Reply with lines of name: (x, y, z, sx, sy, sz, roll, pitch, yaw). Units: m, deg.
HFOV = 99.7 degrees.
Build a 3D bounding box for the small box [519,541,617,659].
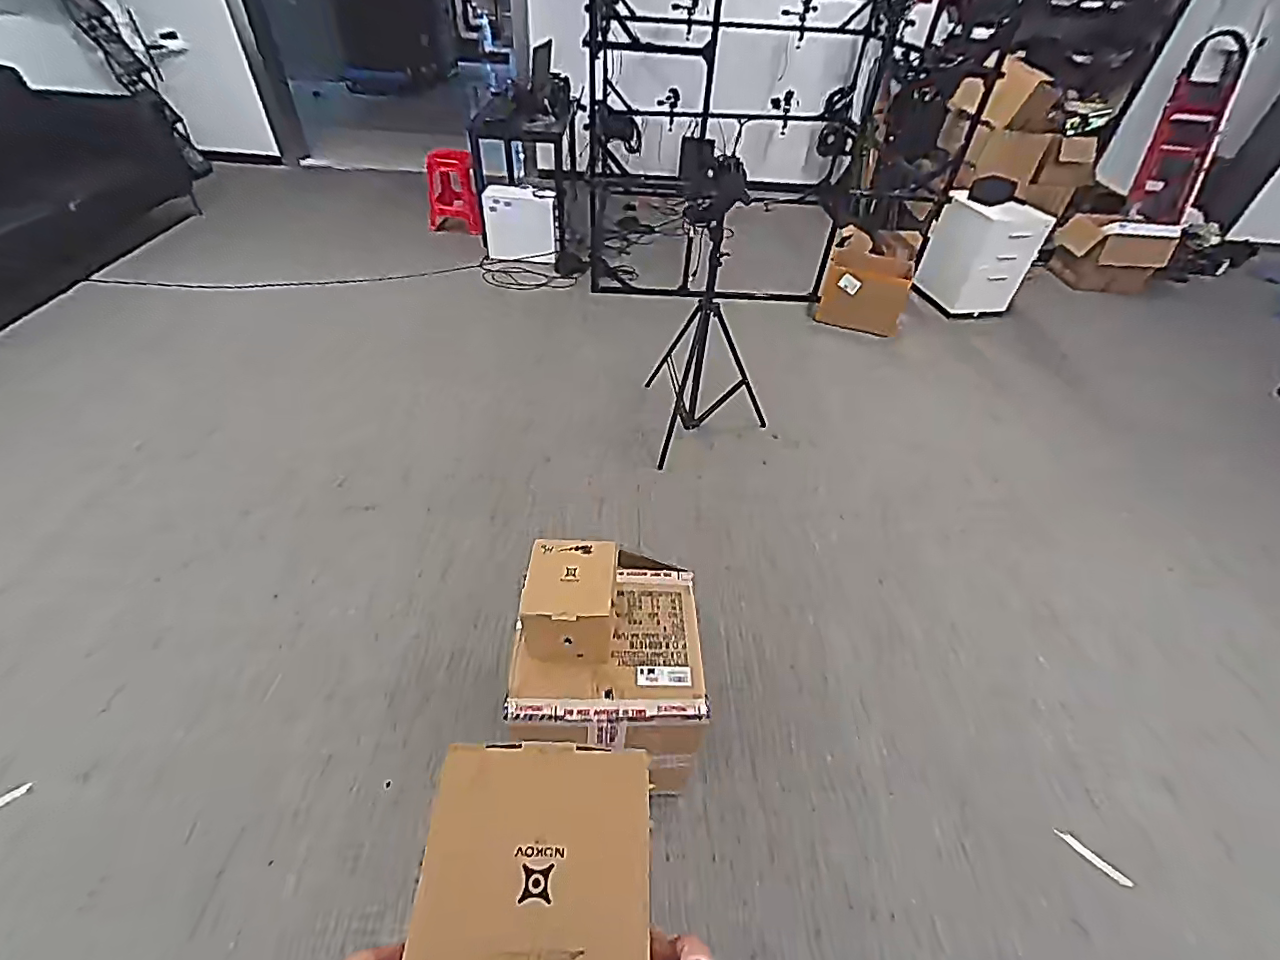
small box: (-0.133, 0.242, 1.079, 0.168, 0.176, 0.179, 2, 46, 0)
